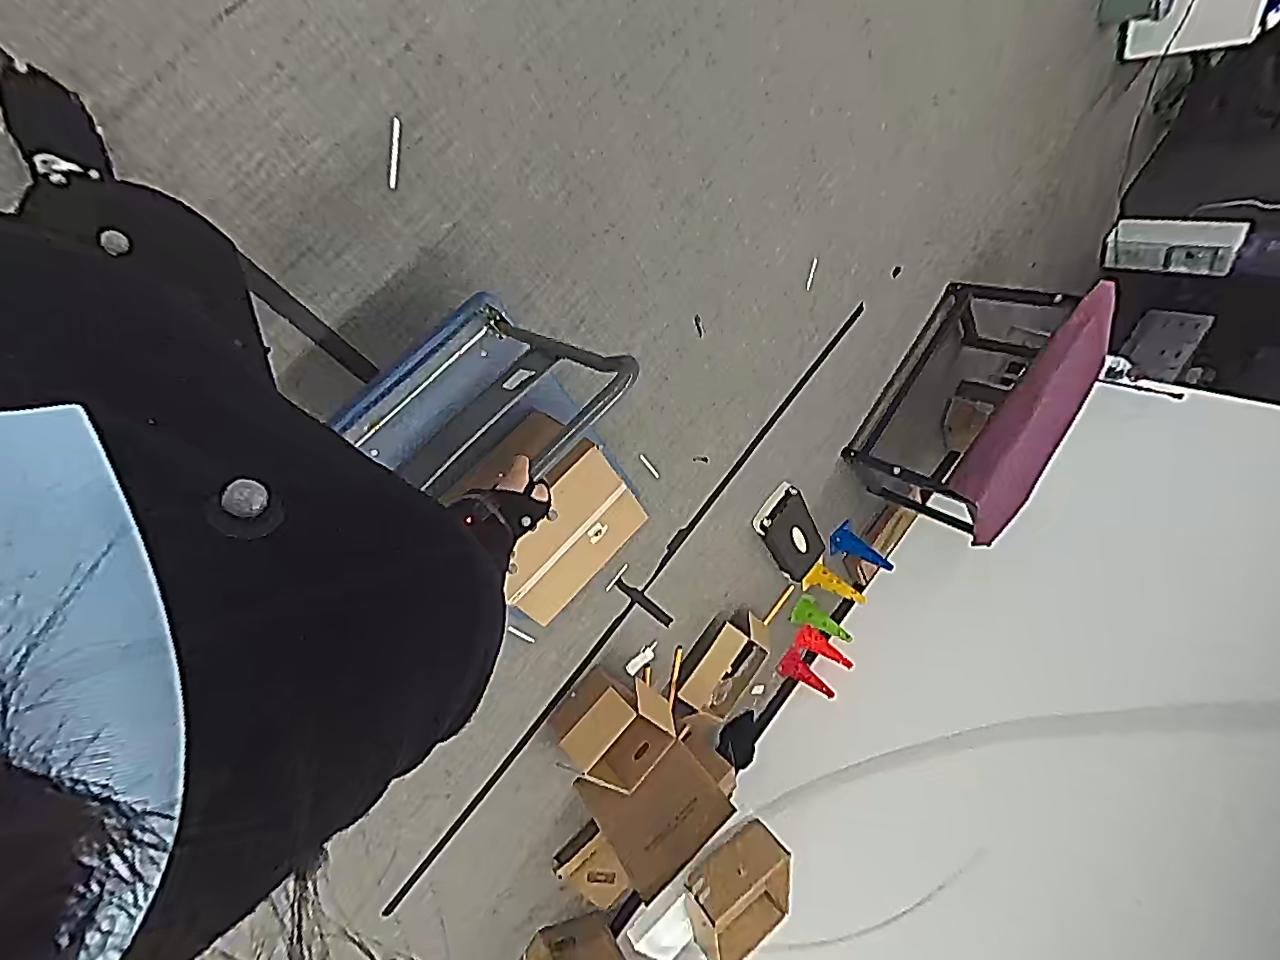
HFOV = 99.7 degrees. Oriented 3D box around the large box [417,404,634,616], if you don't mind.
[{"bbox_3d":[-0.299,0.069,1.438,0.408,0.320,0.320,-47,135,-14],"label":"large box"}]
